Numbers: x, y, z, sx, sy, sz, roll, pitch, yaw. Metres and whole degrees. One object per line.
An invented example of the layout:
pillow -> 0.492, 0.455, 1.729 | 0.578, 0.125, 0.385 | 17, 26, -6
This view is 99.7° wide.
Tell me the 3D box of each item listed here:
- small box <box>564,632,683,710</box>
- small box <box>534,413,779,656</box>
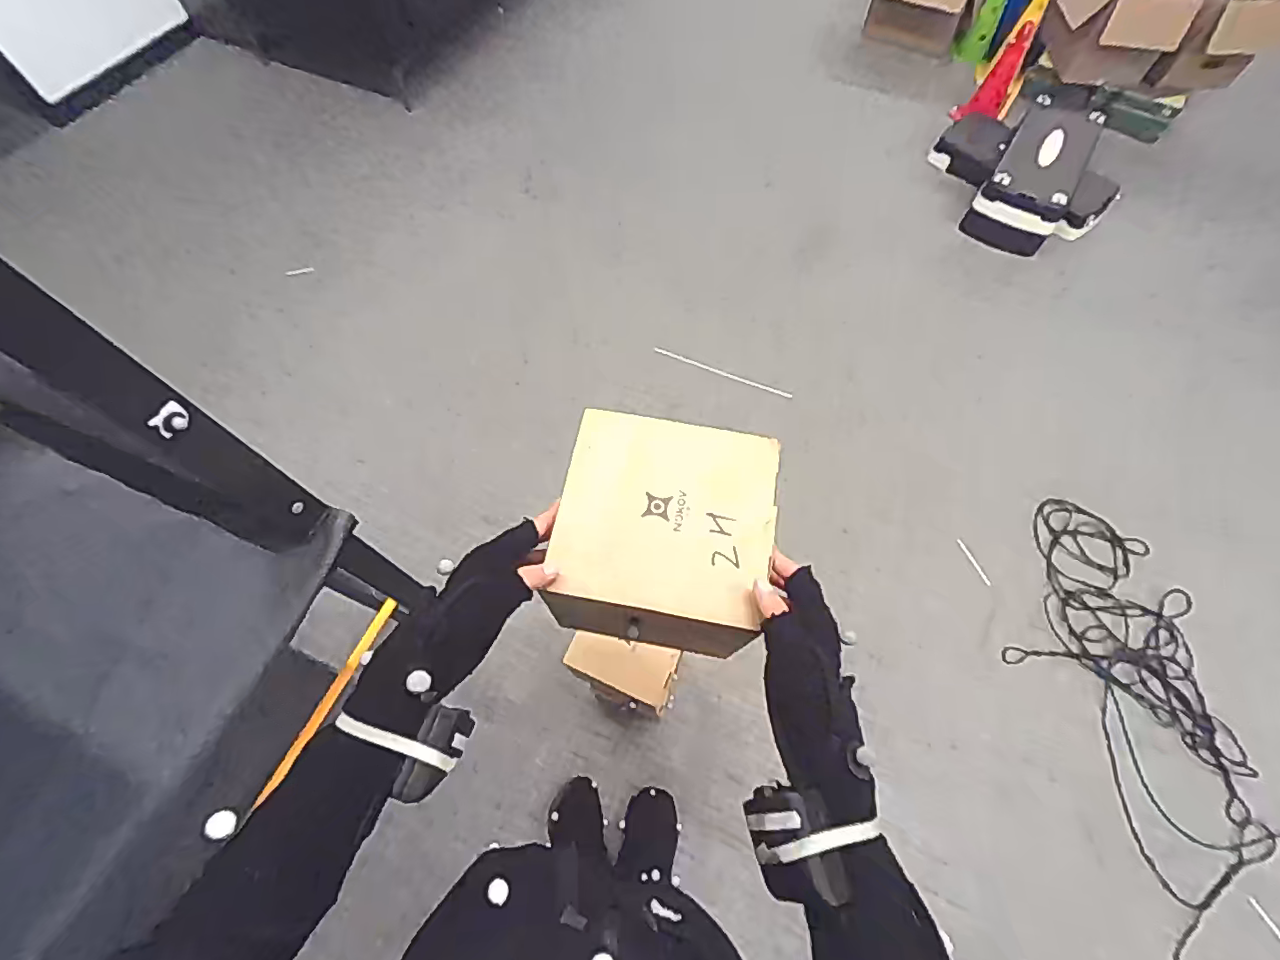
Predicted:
small box -> -0.016, 0.304, 0.982 | 0.179, 0.176, 0.168 | 21, 66, 11
small box -> 0.019, 0.060, 0.505 | 0.179, 0.176, 0.168 | 9, 66, 4
